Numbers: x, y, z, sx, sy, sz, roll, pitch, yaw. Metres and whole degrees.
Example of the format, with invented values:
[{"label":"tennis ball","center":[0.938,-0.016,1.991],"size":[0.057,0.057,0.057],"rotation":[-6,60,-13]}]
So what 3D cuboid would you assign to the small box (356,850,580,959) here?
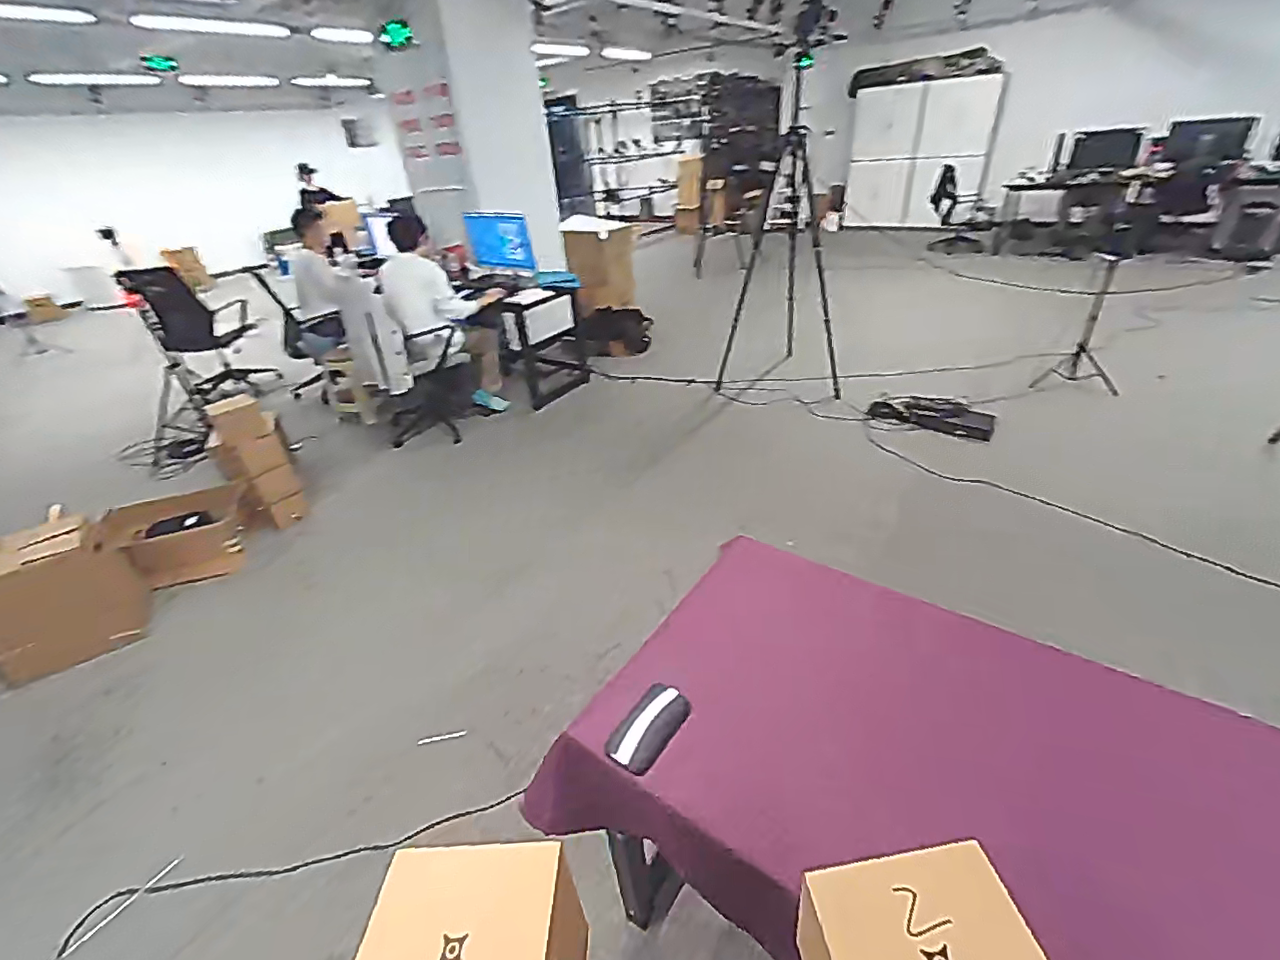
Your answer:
[{"label":"small box","center":[-0.152,0.474,0.489],"size":[0.168,0.176,0.179],"rotation":[-5,29,3]}]
